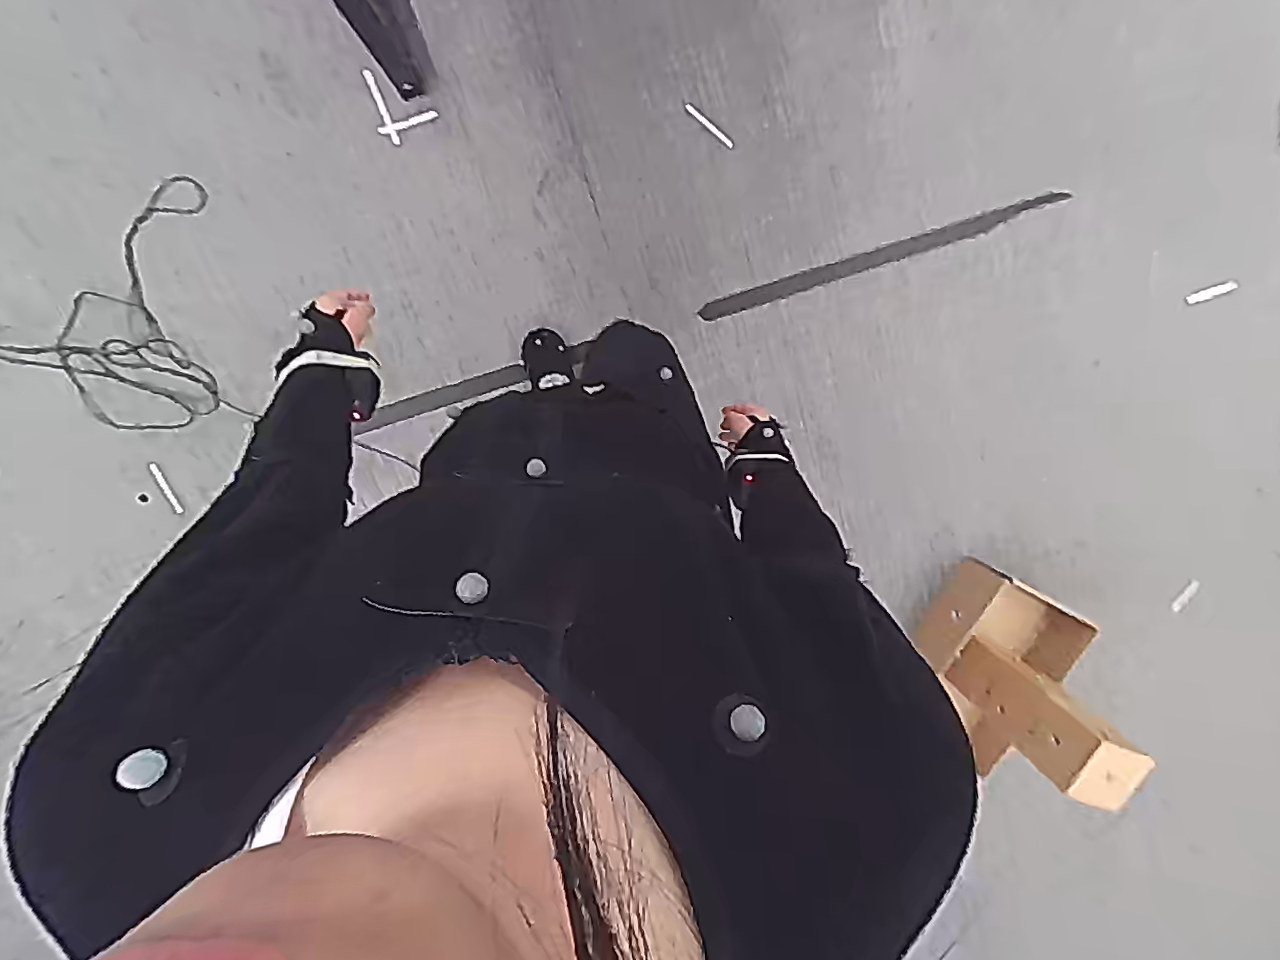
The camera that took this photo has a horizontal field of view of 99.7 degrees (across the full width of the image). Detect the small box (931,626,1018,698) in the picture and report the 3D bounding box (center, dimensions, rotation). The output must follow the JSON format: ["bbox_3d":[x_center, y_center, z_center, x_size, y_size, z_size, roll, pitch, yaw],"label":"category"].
[{"bbox_3d":[1.074,0.590,1.706,0.179,0.176,0.168,26,101,-13],"label":"small box"}]

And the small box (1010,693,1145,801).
[{"bbox_3d":[1.115,0.680,1.394,0.179,0.176,0.168,21,104,-12],"label":"small box"}]

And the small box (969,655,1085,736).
[{"bbox_3d":[1.098,0.630,1.551,0.179,0.176,0.168,21,103,-14],"label":"small box"}]
